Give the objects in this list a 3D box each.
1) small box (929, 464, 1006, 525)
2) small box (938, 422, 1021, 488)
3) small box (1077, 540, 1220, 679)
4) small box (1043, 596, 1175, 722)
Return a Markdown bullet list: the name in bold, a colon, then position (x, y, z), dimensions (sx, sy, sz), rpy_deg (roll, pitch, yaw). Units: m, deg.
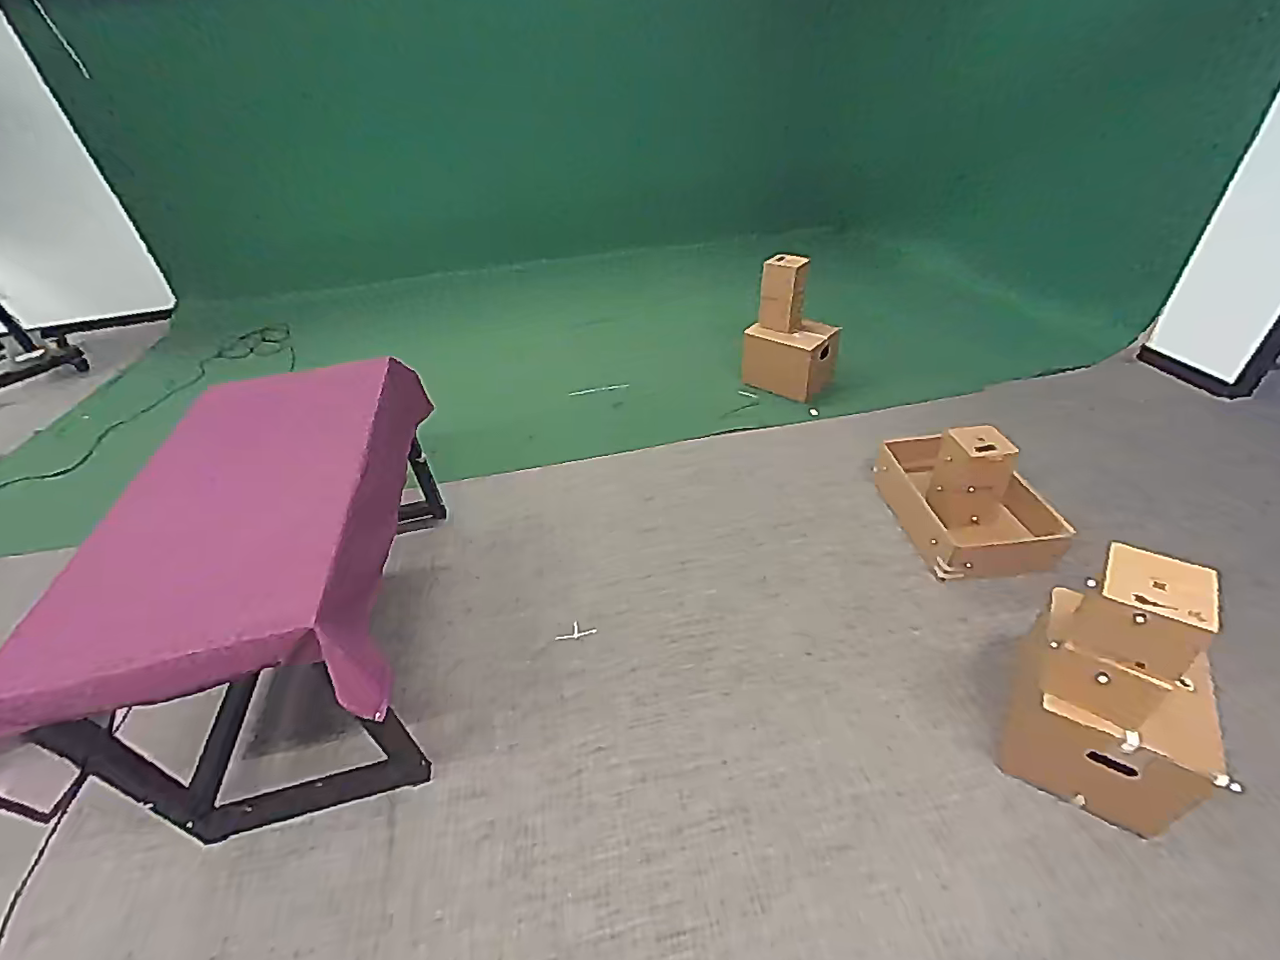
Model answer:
- **small box**: position (1.206, 0.046, 2.009), dimensions (0.168, 0.176, 0.179), rpy_deg (-7, 38, 0)
- **small box**: position (1.190, -0.083, 1.908), dimensions (0.168, 0.176, 0.179), rpy_deg (-6, 37, 0)
- **small box**: position (1.019, 0.259, 1.093), dimensions (0.168, 0.176, 0.179), rpy_deg (20, 45, 34)
- **small box**: position (1.030, 0.395, 1.185), dimensions (0.179, 0.176, 0.168), rpy_deg (24, 48, 36)
